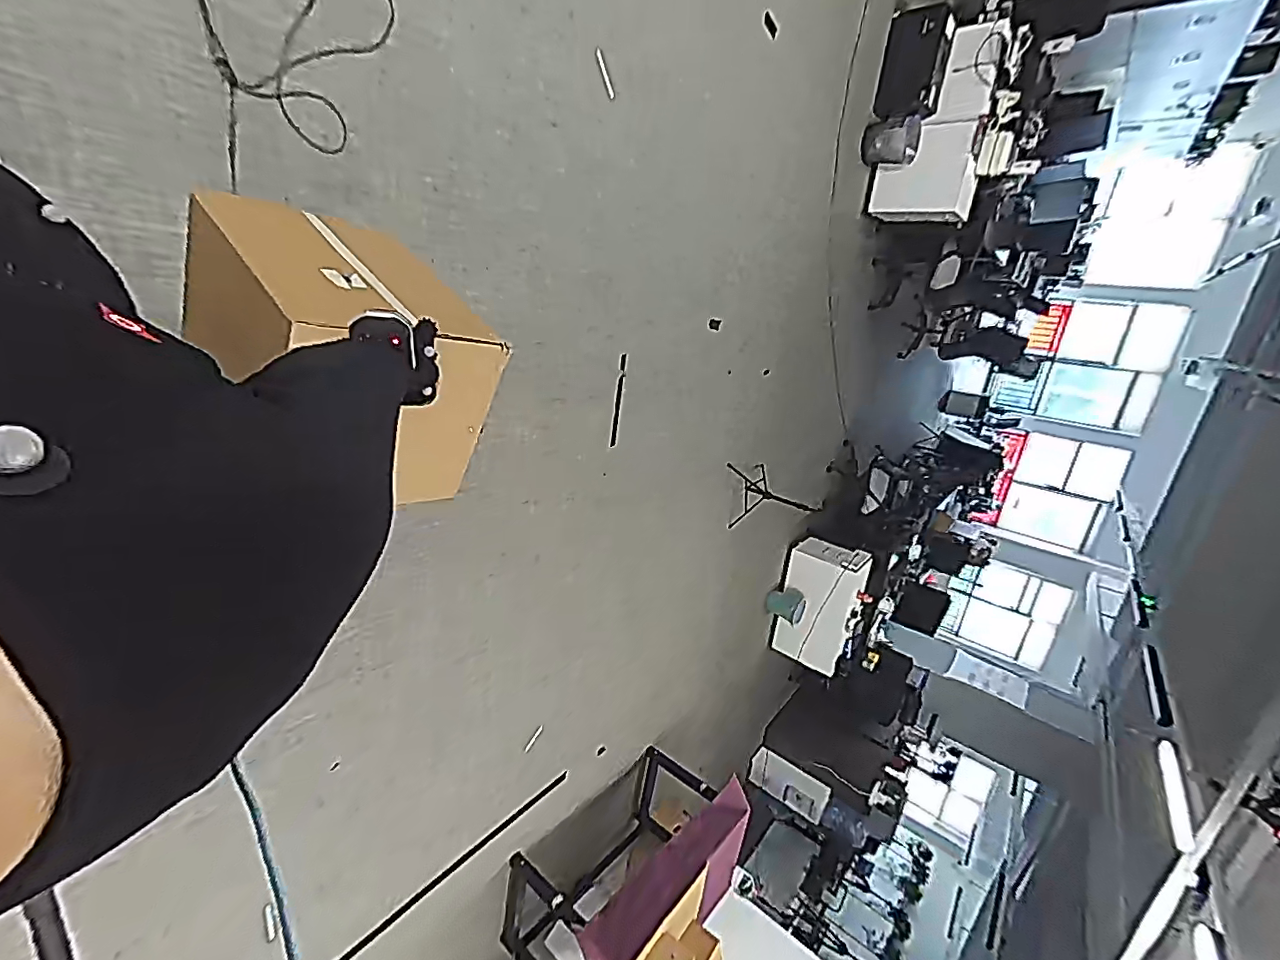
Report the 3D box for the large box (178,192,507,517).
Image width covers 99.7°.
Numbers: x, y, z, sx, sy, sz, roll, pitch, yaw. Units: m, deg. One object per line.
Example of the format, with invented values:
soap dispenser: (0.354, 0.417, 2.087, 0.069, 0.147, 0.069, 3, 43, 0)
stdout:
large box: (-0.503, -0.199, 0.896, 0.320, 0.408, 0.320, -11, 138, -52)
